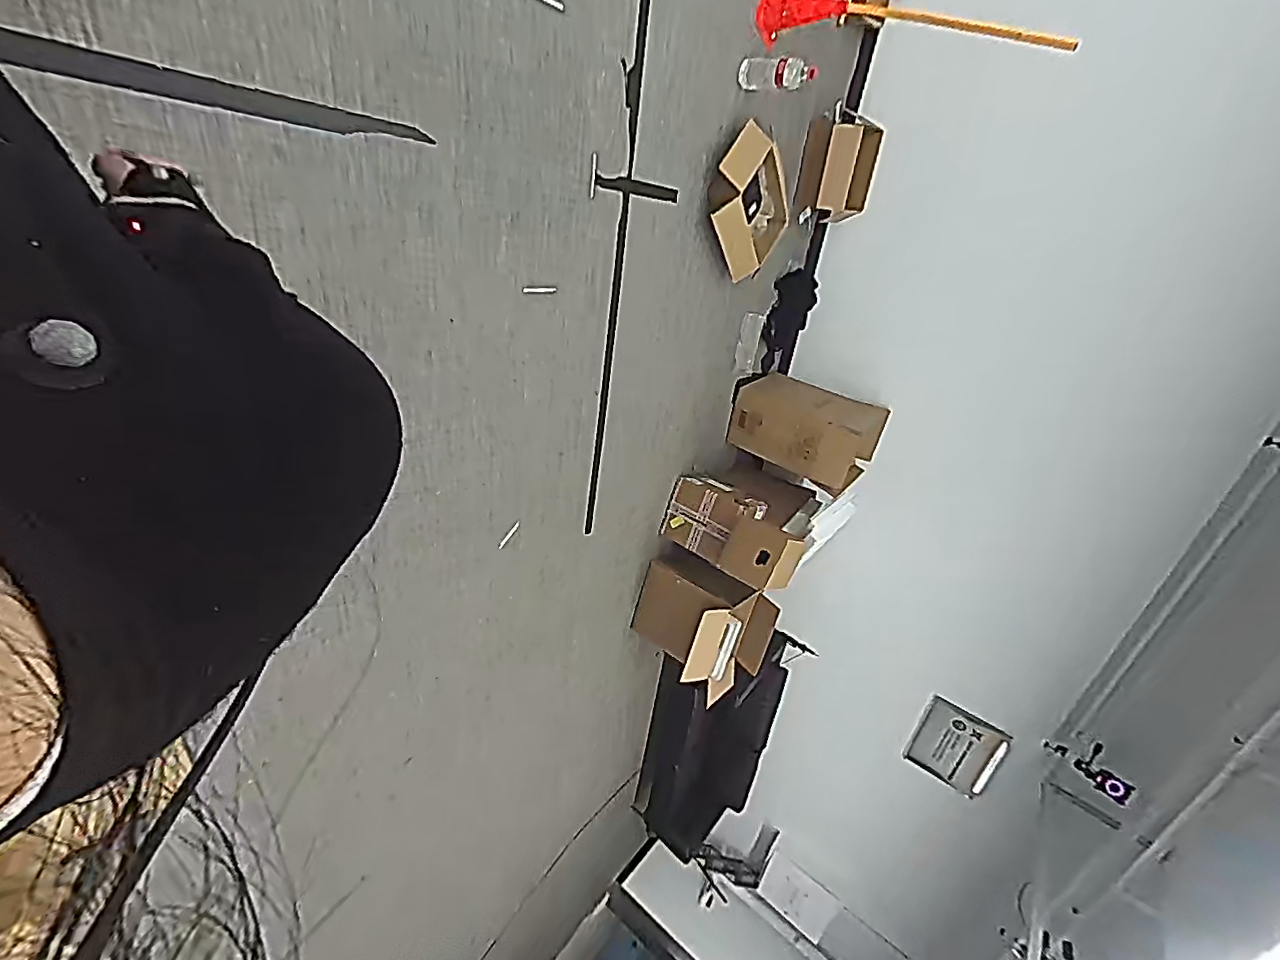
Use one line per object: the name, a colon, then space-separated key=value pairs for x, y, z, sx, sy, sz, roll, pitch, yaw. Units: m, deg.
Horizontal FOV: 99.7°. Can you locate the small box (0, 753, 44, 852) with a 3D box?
small box: x=-1.422 y=0.692 z=1.131 sx=0.168 sy=0.176 sz=0.179 roll=-35 pitch=138 yaw=-42

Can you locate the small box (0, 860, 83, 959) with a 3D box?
small box: x=-1.175 y=0.835 z=0.971 sx=0.168 sy=0.176 sz=0.179 roll=-35 pitch=140 yaw=-40
